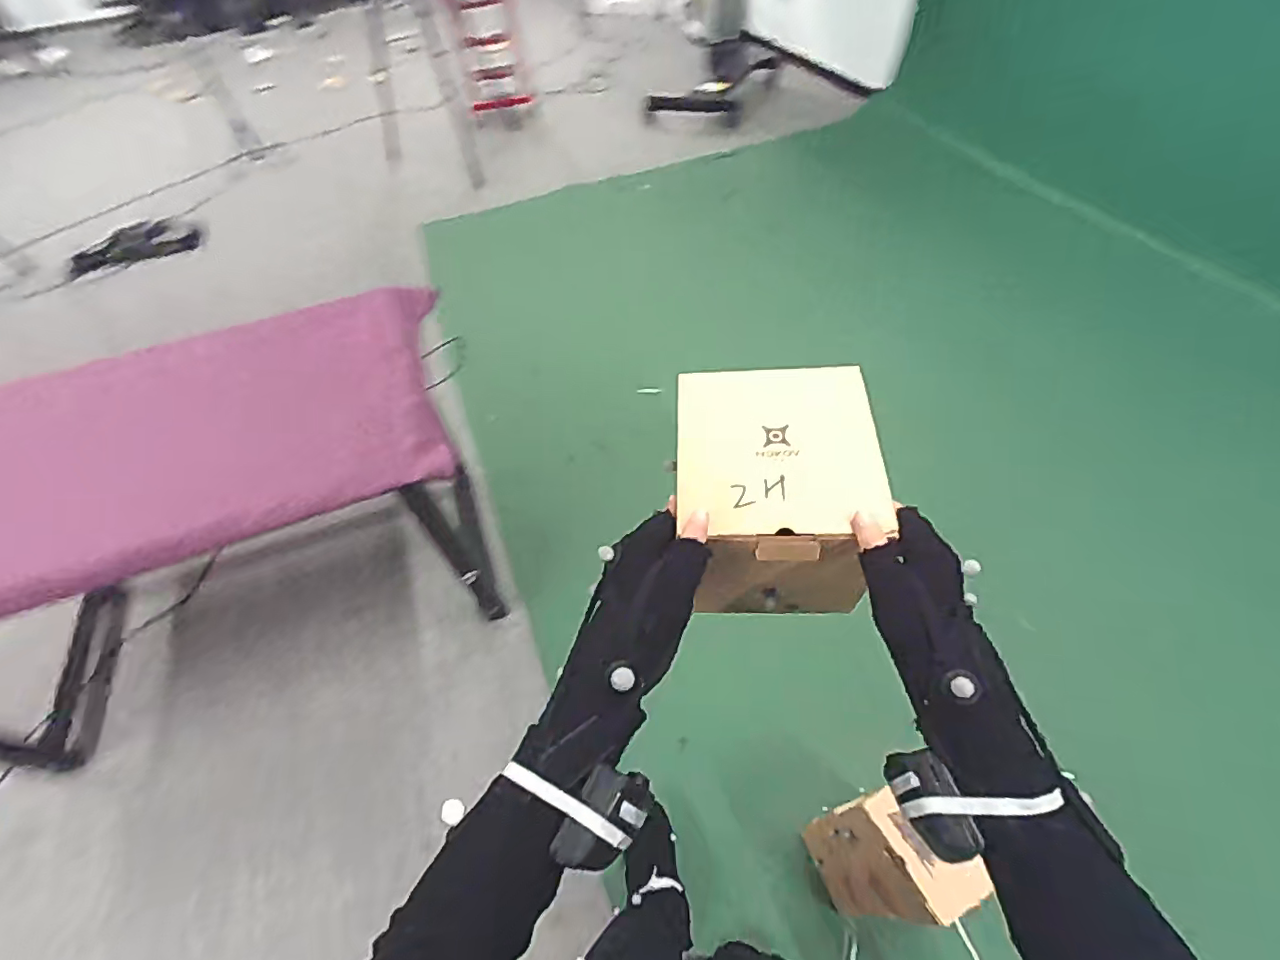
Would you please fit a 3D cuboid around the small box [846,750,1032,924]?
[{"bbox_3d":[0.452,0.565,0.857,0.179,0.176,0.168,-22,55,-13],"label":"small box"}]

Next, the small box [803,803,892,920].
[{"bbox_3d":[0.462,0.769,1.115,0.179,0.176,0.168,-19,54,-9],"label":"small box"}]
